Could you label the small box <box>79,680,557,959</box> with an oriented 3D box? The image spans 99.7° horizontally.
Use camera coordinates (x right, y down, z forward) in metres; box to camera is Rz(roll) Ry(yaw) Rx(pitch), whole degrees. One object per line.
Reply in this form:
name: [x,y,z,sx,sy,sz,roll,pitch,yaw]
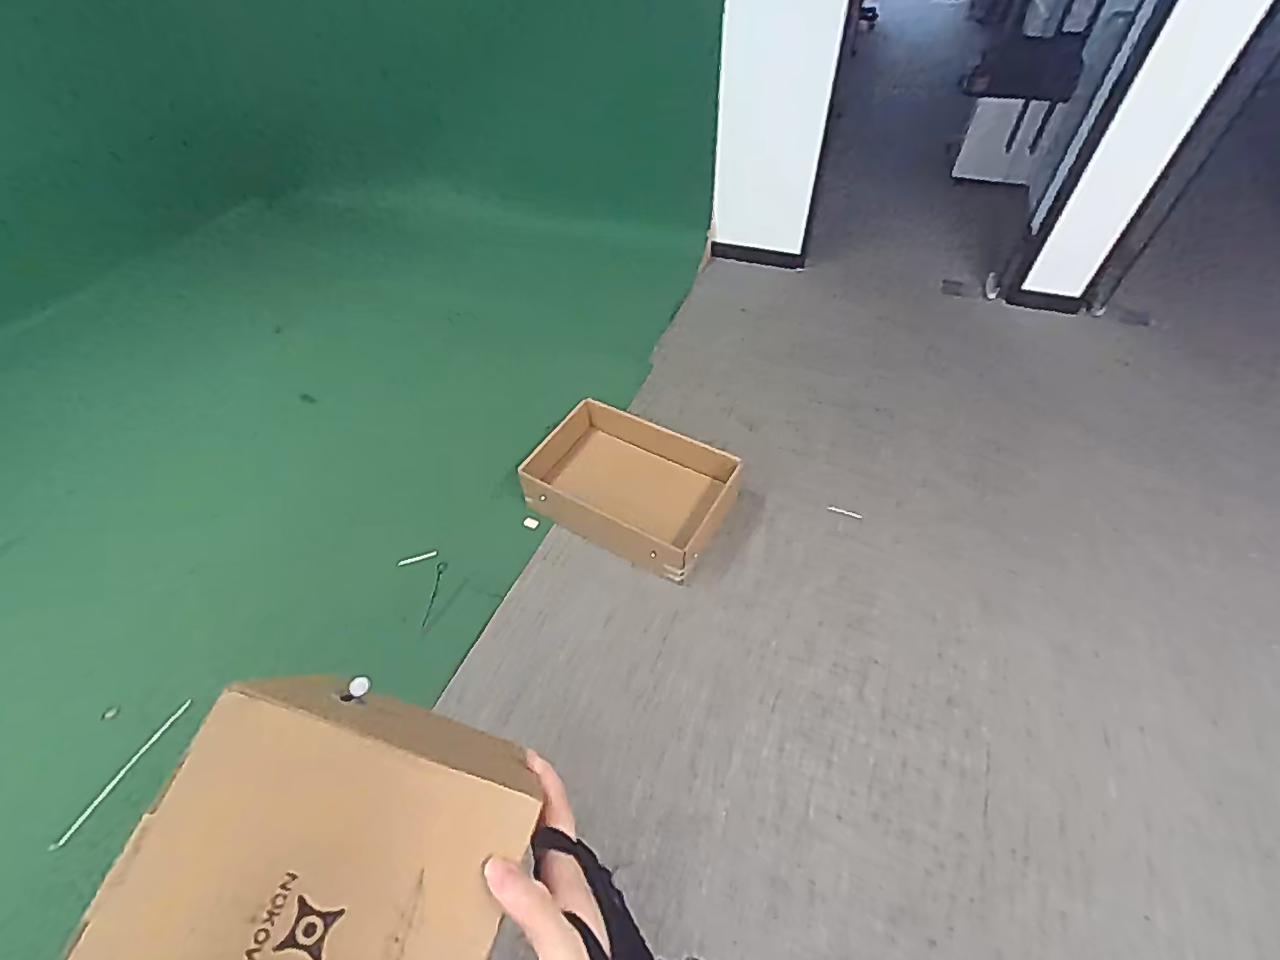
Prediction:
small box: [-0.170,0.235,0.331,0.179,0.176,0.168,25,68,-5]
